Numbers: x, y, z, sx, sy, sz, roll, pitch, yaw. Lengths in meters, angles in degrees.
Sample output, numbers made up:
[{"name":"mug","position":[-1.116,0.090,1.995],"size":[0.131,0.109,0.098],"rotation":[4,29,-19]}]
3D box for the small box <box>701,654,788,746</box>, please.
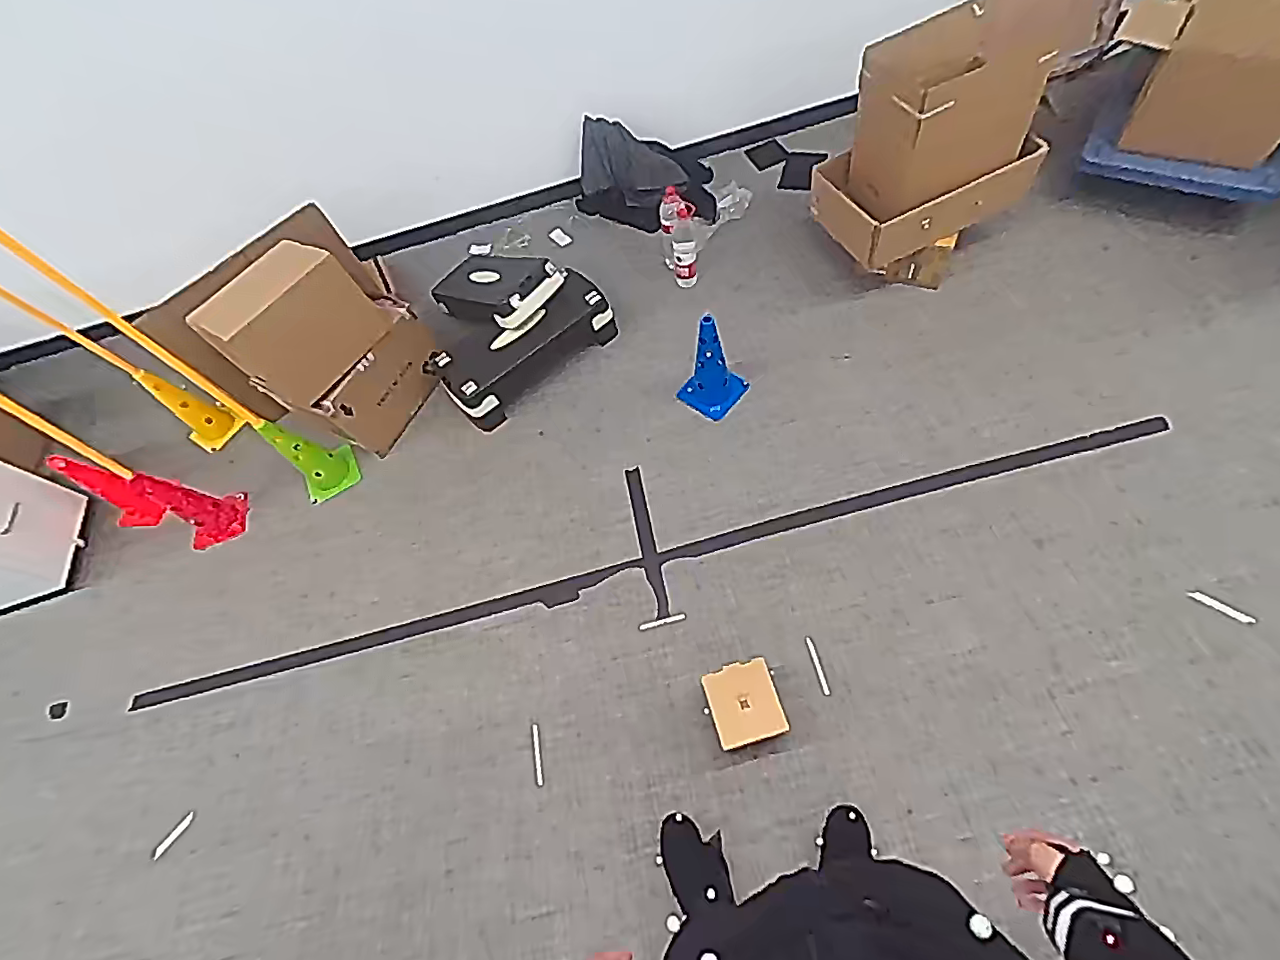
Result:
[{"name":"small box","position":[0.265,0.562,1.374],"size":[0.168,0.176,0.179],"rotation":[-18,61,1]}]
